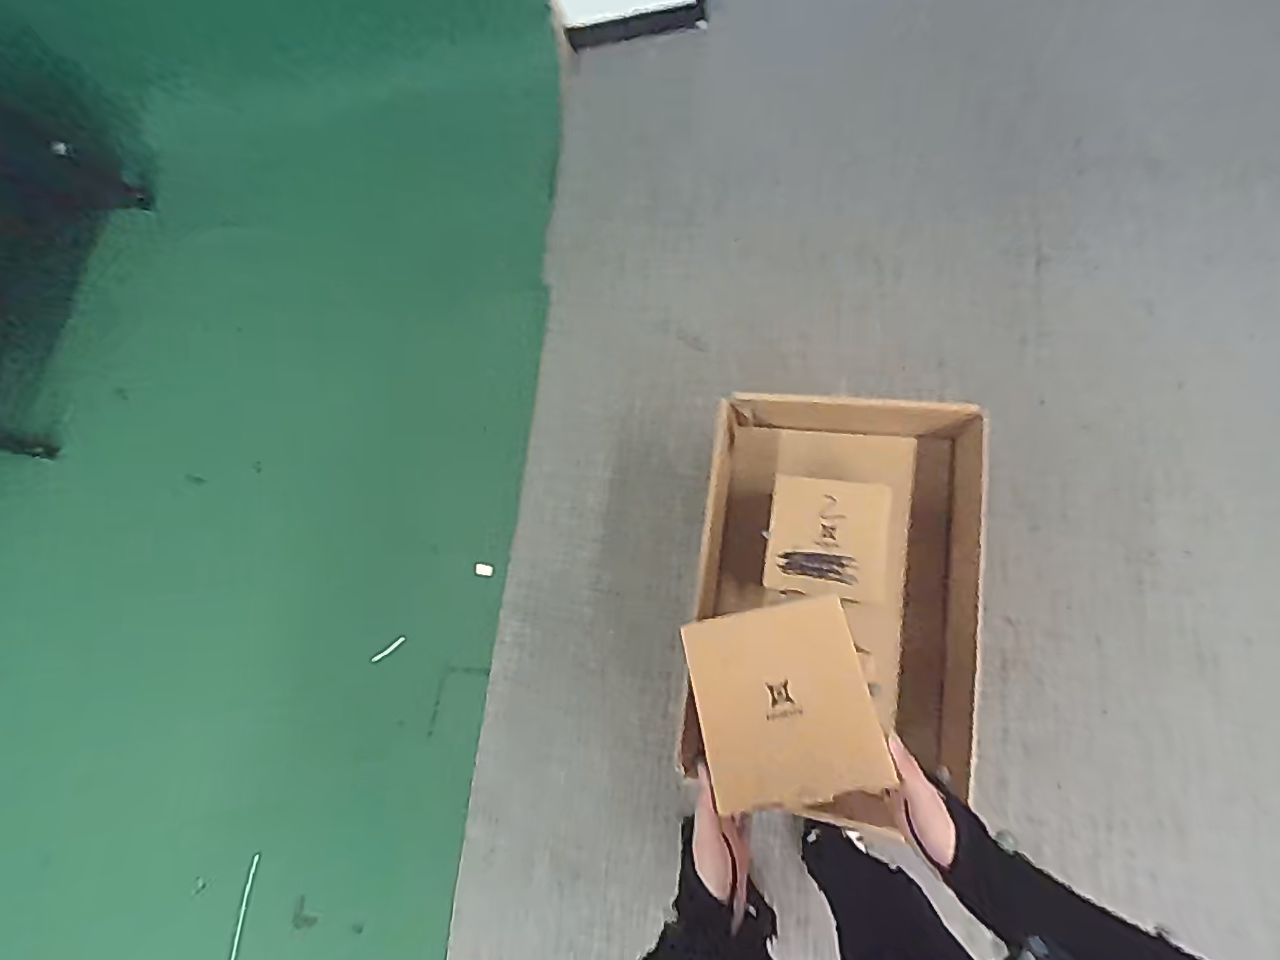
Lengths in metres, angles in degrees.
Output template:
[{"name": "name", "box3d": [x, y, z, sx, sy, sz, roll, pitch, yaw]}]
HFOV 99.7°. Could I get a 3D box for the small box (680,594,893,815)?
[{"name": "small box", "box3d": [0.147, 0.241, 0.594, 0.168, 0.176, 0.179, -14, 67, 6]}]
